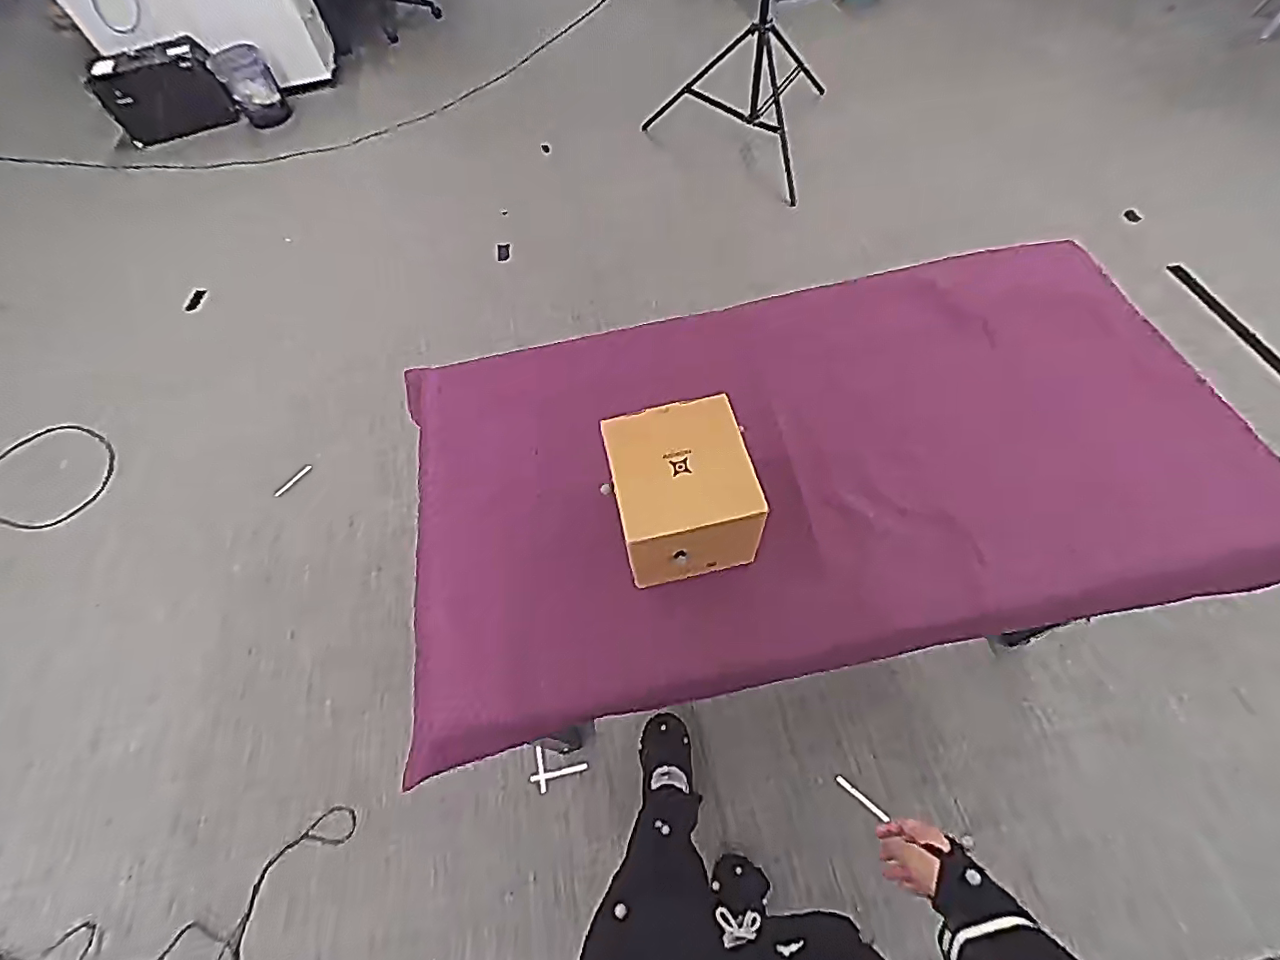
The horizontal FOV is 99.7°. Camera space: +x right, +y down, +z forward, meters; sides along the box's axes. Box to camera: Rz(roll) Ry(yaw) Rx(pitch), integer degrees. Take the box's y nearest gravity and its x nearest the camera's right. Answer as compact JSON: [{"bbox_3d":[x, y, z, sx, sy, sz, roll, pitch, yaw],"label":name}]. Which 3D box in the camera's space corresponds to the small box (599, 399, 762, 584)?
[{"bbox_3d":[0.051,0.026,0.716,0.168,0.176,0.179,-13,60,-2],"label":"small box"}]
